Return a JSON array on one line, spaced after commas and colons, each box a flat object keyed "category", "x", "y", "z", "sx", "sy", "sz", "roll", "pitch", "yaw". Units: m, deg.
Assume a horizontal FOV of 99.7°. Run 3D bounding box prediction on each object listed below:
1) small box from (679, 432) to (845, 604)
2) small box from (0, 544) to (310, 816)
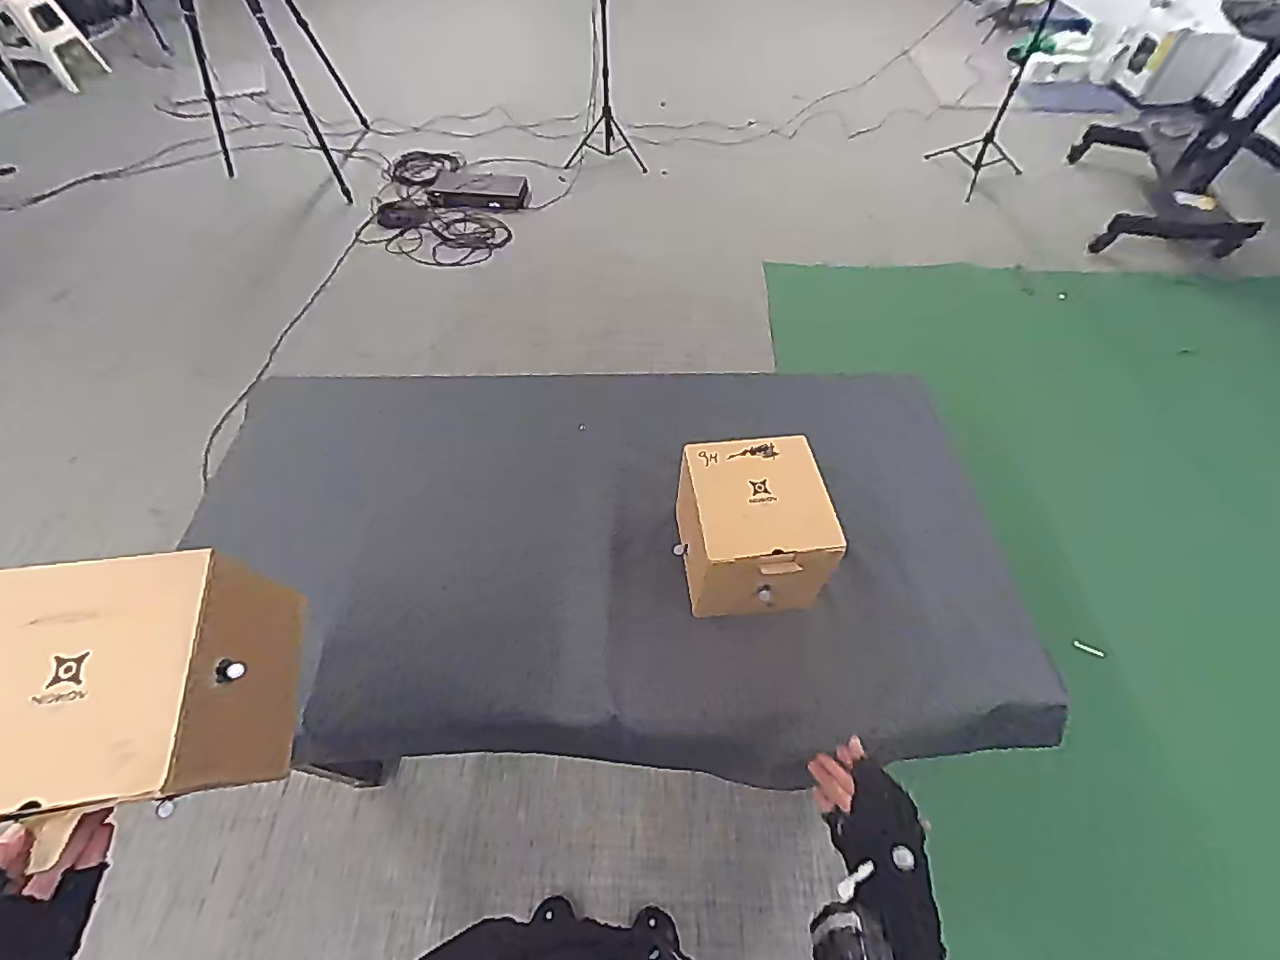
[{"category": "small box", "x": 0.148, "y": 0.058, "z": 0.729, "sx": 0.168, "sy": 0.176, "sz": 0.179, "roll": -4, "pitch": 56, "yaw": -5}, {"category": "small box", "x": -0.410, "y": 0.169, "z": 0.460, "sx": 0.168, "sy": 0.176, "sz": 0.179, "roll": -5, "pitch": 65, "yaw": -8}]
